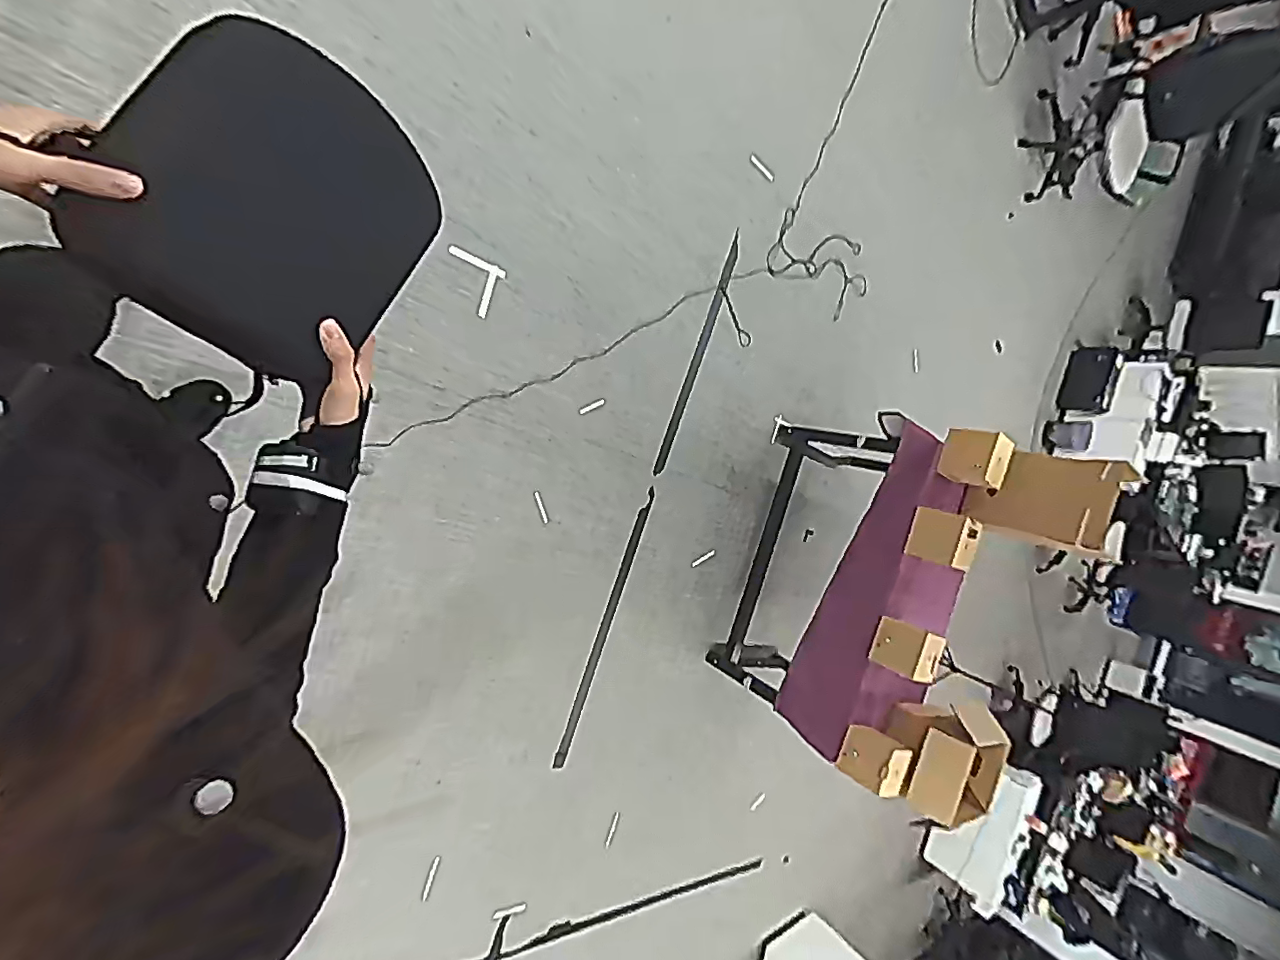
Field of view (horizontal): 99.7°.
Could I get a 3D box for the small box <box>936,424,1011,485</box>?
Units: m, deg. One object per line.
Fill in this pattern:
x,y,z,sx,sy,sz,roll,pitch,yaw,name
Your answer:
1.212,-0.096,1.973,0.168,0.176,0.179,17,92,-40,small box

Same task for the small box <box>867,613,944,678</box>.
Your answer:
0.951,0.592,1.944,0.179,0.176,0.168,22,87,-39,small box

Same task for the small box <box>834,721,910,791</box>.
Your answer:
0.835,0.991,1.952,0.179,0.176,0.168,26,84,-40,small box
